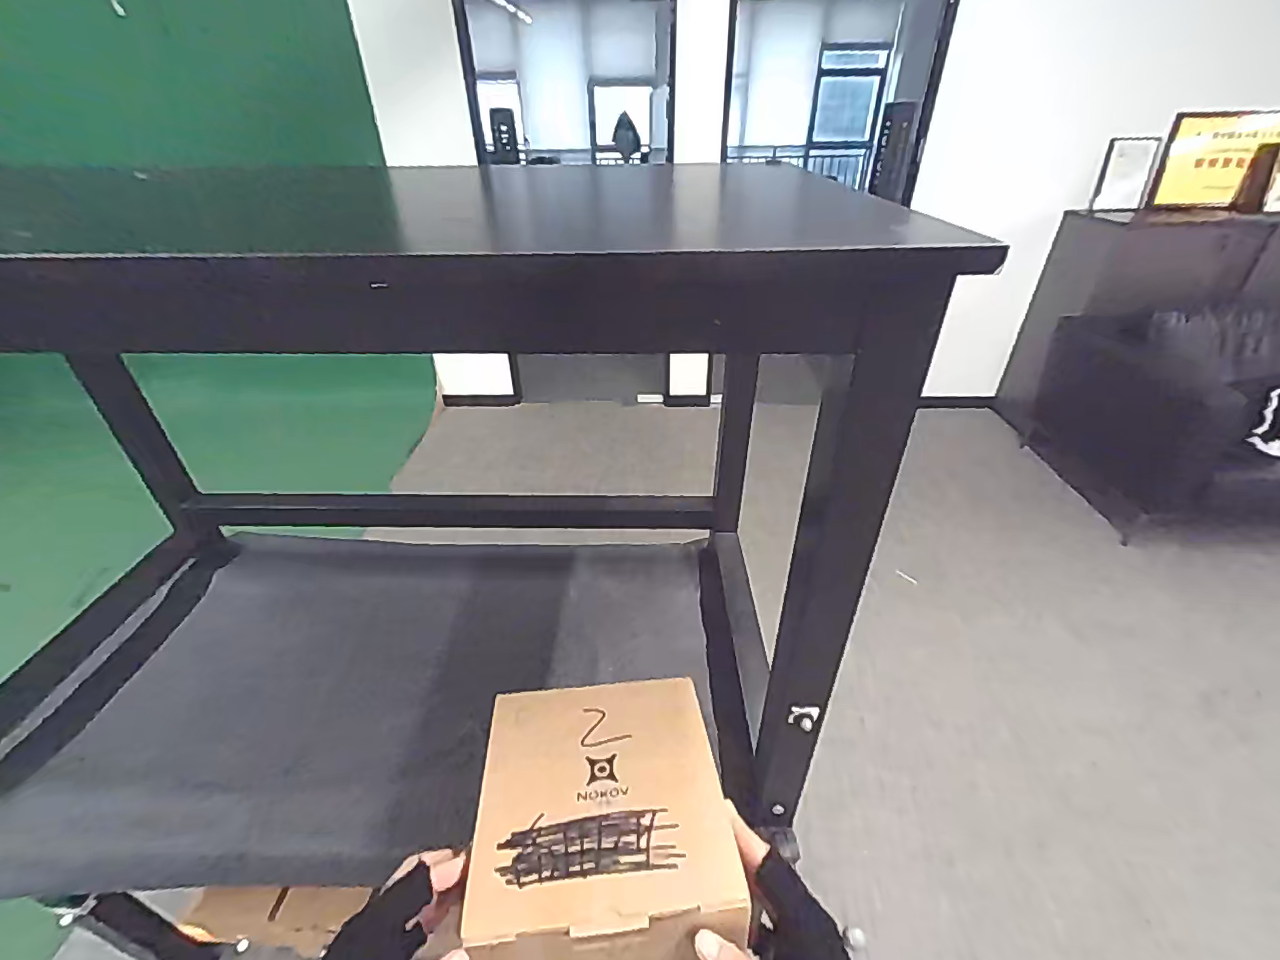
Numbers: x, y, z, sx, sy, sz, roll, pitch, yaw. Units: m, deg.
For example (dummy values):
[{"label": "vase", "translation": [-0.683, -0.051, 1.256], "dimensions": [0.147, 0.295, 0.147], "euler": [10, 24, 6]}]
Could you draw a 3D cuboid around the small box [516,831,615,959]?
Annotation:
[{"label": "small box", "translation": [-0.144, 0.870, 1.126], "dimensions": [0.168, 0.176, 0.179], "euler": [2, 36, 6]}]
